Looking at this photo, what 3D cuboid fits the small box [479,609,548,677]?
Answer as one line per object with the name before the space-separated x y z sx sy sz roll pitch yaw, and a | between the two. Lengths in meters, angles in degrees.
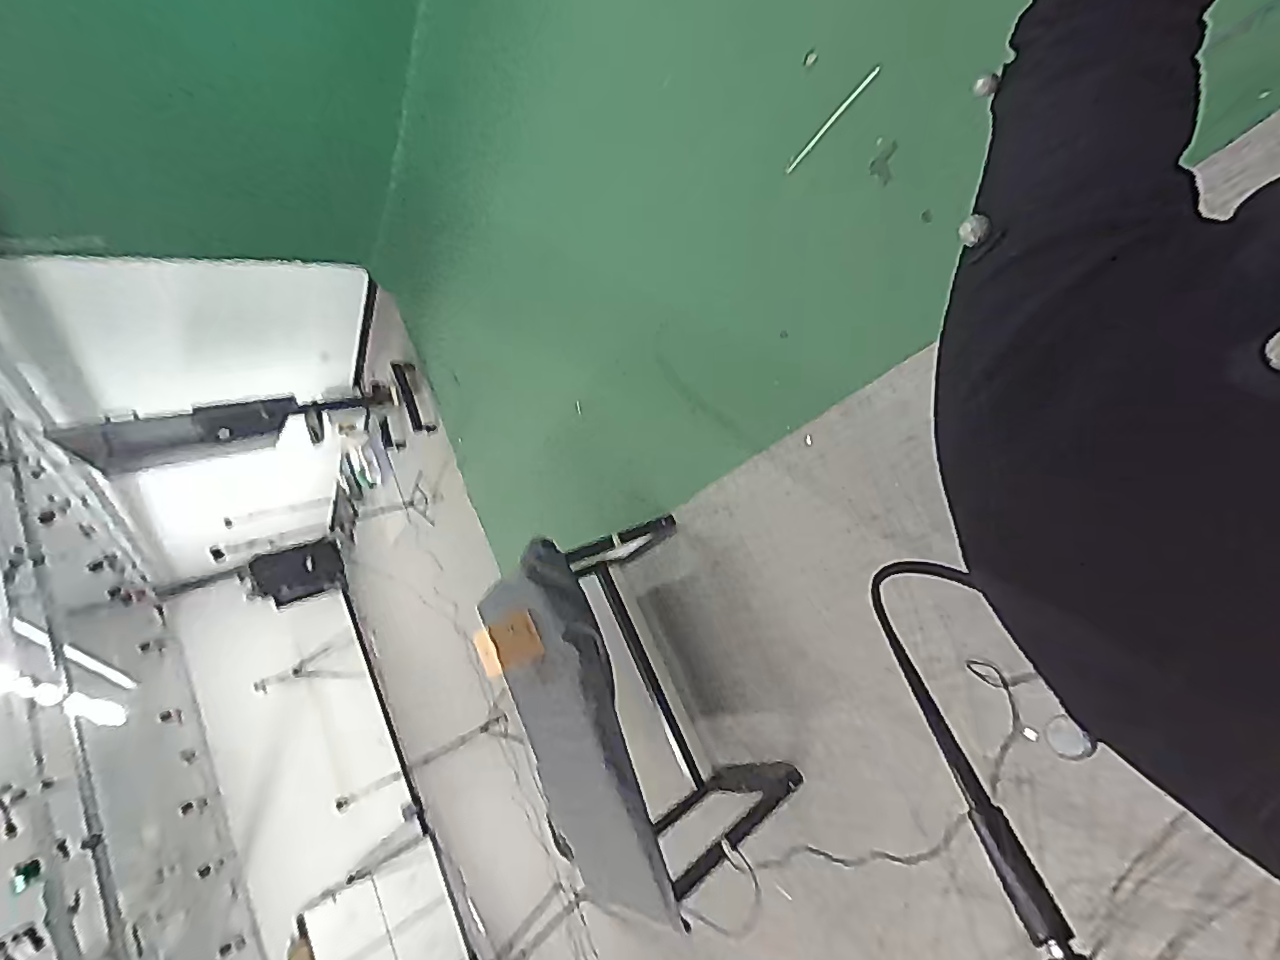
small box | -0.450 0.580 1.933 0.179 0.176 0.168 -45 67 51
